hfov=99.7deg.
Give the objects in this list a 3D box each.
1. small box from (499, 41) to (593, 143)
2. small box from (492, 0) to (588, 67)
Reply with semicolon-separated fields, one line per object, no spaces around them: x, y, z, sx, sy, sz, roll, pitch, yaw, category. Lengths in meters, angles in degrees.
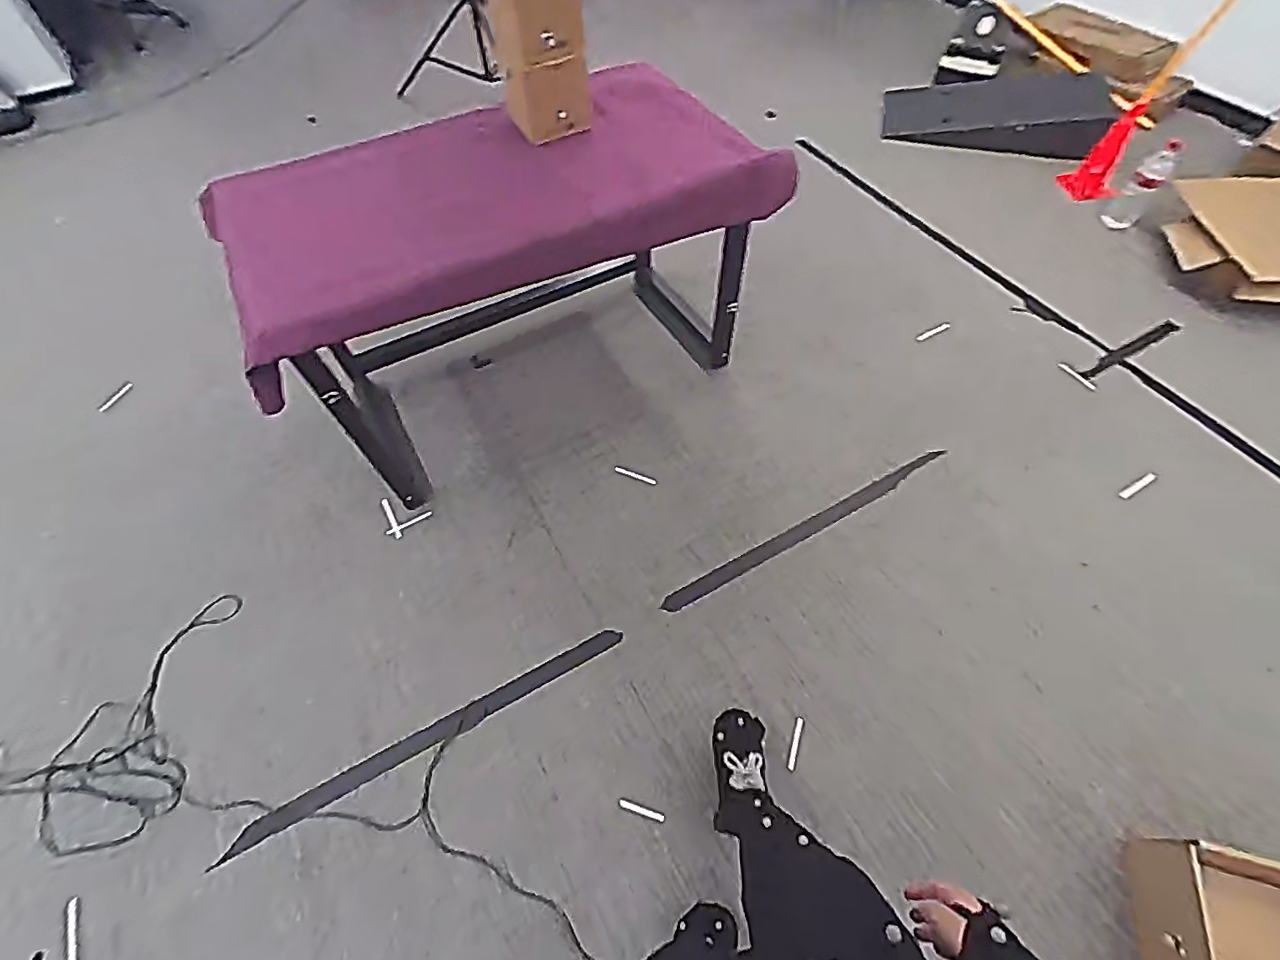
-0.231;-0.984;1.353;0.168;0.176;0.179;-26;63;-13;small box
-0.231;-1.074;1.218;0.168;0.176;0.179;-29;64;-14;small box
